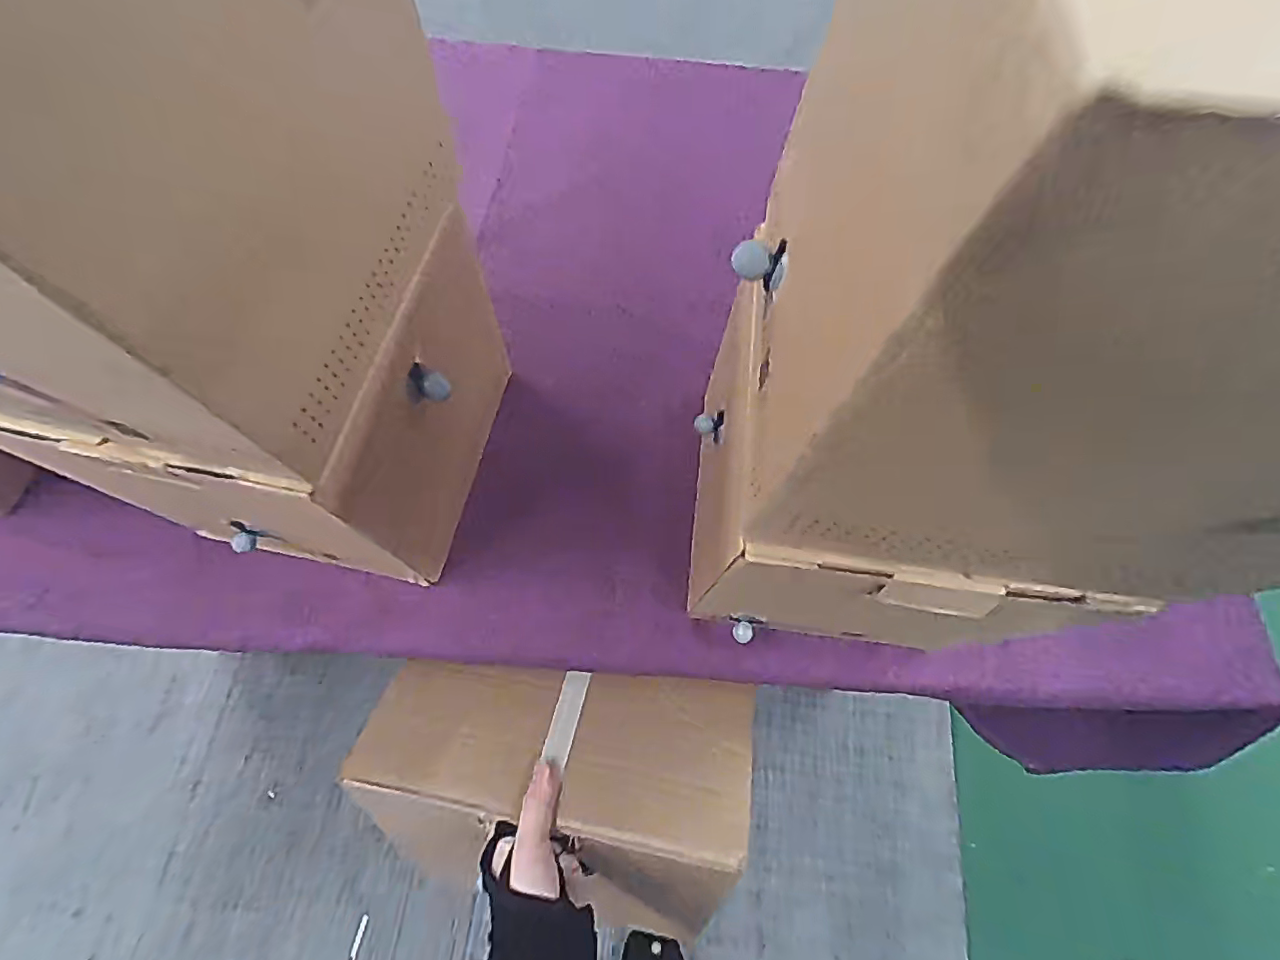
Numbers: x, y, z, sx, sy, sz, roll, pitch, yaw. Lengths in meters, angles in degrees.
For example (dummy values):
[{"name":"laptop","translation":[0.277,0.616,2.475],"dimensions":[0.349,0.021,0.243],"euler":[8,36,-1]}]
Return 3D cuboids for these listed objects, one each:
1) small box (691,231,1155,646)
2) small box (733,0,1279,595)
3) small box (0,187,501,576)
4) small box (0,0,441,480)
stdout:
[{"name":"small box","translation":[0.125,-0.006,0.314],"dimensions":[0.168,0.176,0.179],"euler":[8,67,0]},{"name":"small box","translation":[0.137,-0.068,0.163],"dimensions":[0.179,0.176,0.168],"euler":[9,68,1]},{"name":"small box","translation":[-0.192,-0.057,0.319],"dimensions":[0.168,0.176,0.179],"euler":[12,70,2]},{"name":"small box","translation":[-0.182,-0.122,0.168],"dimensions":[0.168,0.176,0.179],"euler":[13,69,3]}]
